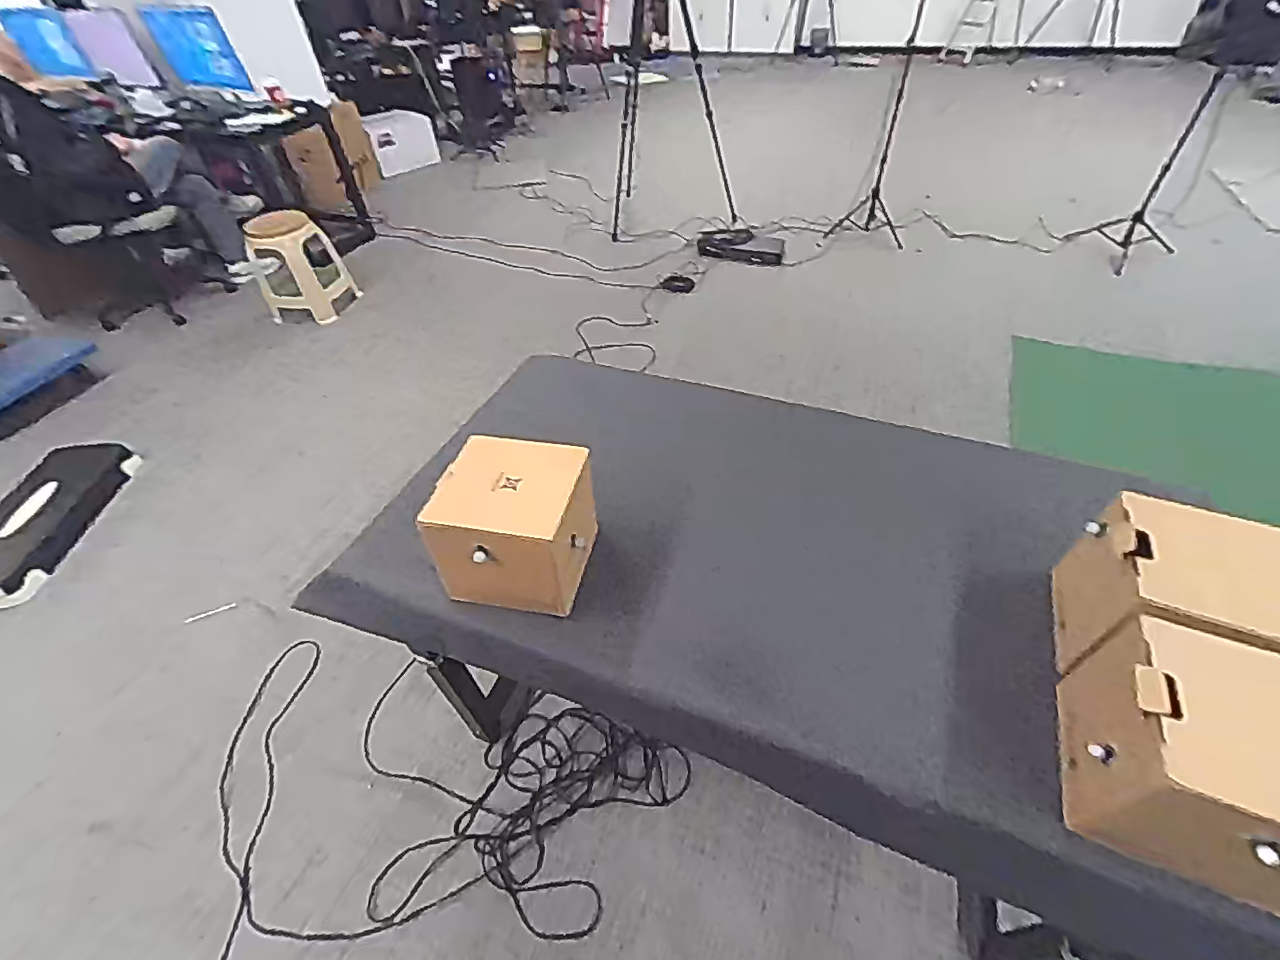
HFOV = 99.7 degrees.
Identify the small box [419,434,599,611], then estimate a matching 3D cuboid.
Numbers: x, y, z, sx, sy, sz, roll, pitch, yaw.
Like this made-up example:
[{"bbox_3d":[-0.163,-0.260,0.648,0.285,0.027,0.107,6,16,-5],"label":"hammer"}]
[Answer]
[{"bbox_3d":[-0.162,0.060,0.743,0.179,0.176,0.168,7,45,10],"label":"small box"}]
